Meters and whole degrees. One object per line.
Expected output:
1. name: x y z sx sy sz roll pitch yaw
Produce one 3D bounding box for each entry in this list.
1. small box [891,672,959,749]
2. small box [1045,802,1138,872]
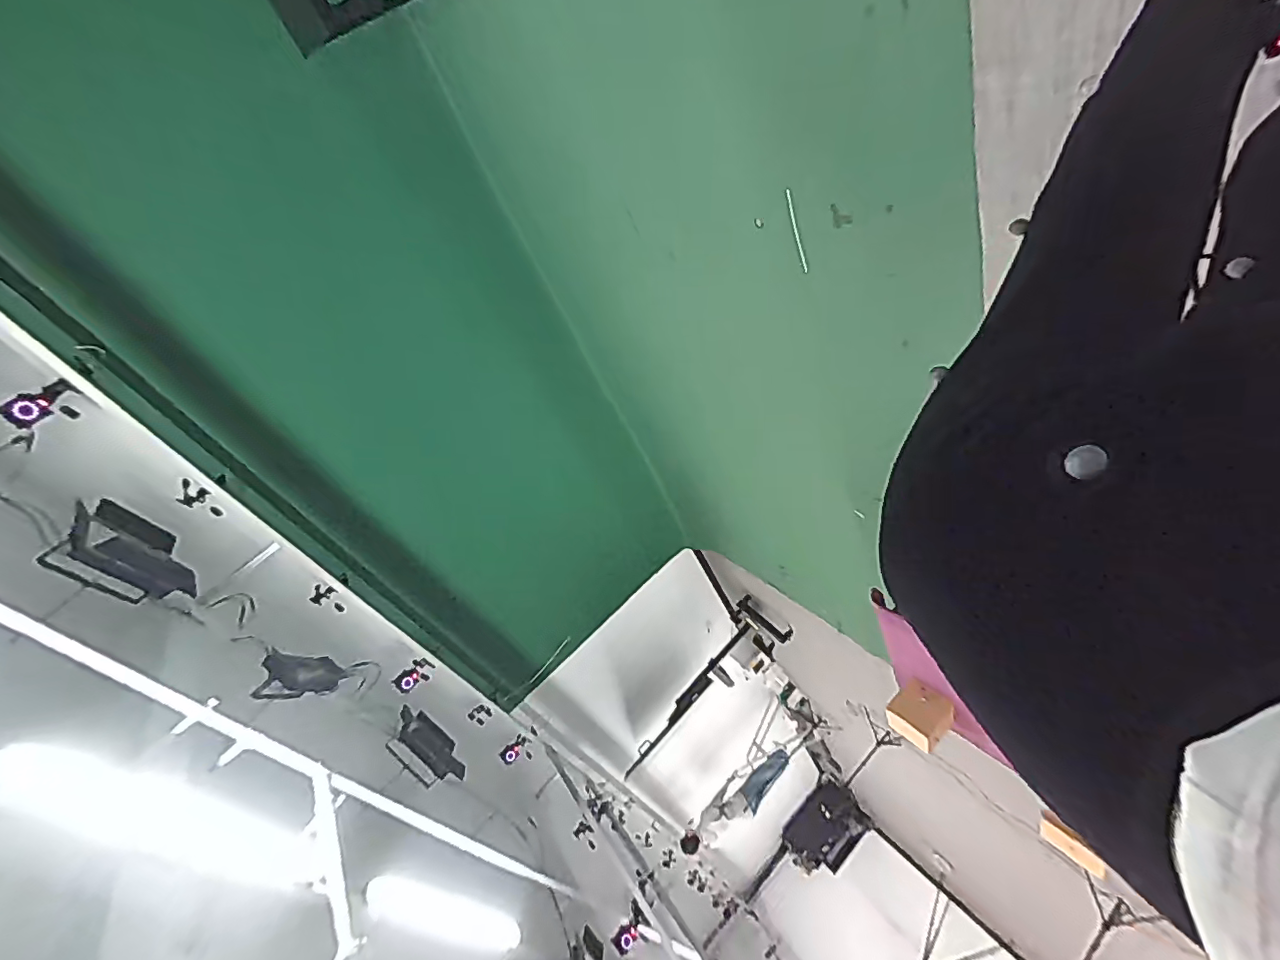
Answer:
1. small box: 1.080 0.868 2.043 0.168 0.176 0.179 31 157 46
2. small box: 1.370 1.033 1.643 0.168 0.176 0.179 30 156 52
